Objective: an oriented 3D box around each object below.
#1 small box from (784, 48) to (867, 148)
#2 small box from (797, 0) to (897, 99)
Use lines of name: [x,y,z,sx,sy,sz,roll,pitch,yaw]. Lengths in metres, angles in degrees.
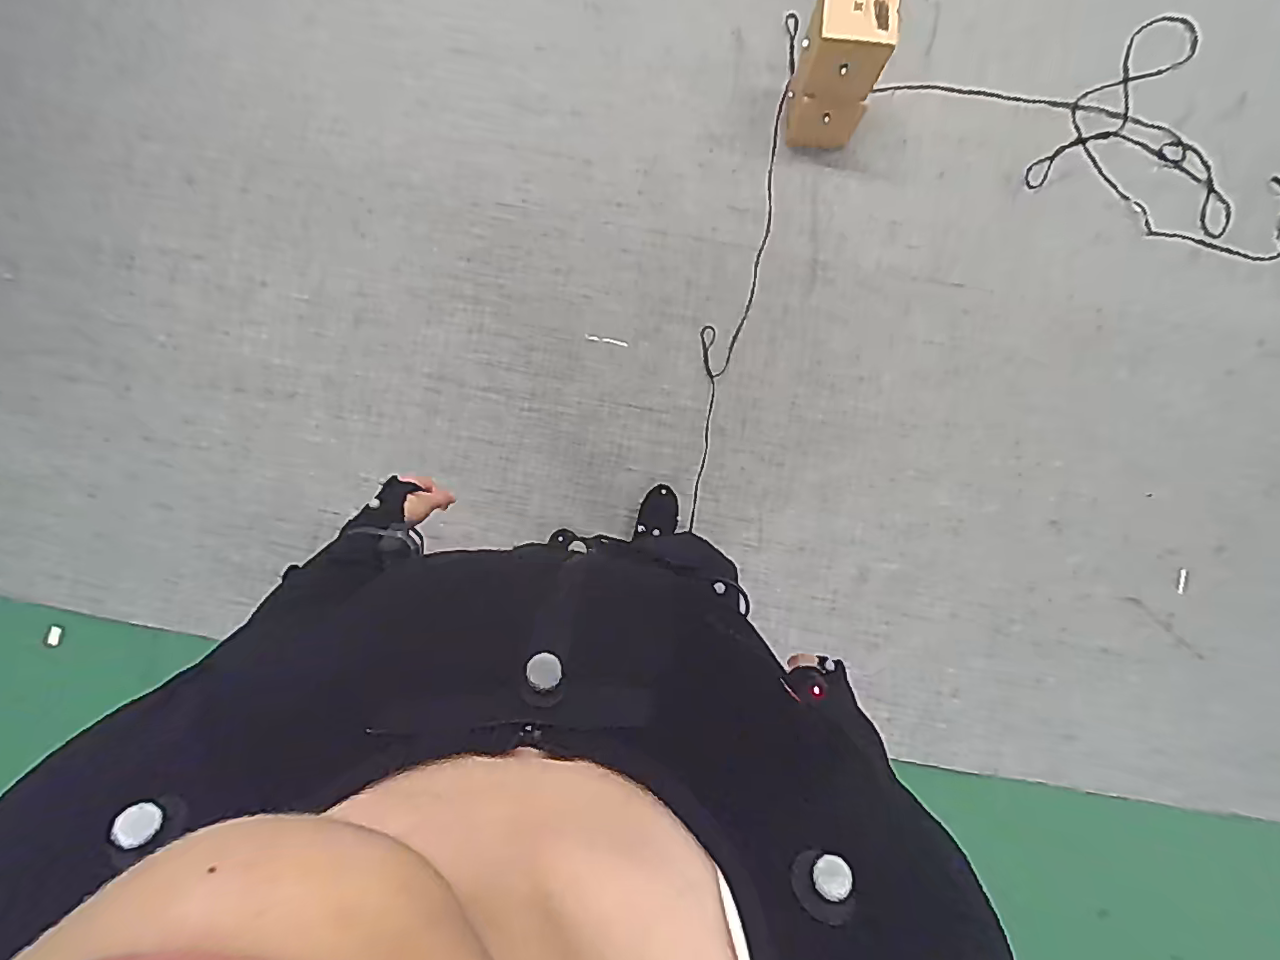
small box: [0.499,-1.036,1.472,0.179,0.176,0.168,2,87,0]
small box: [0.497,-1.064,1.309,0.179,0.176,0.168,6,86,1]
